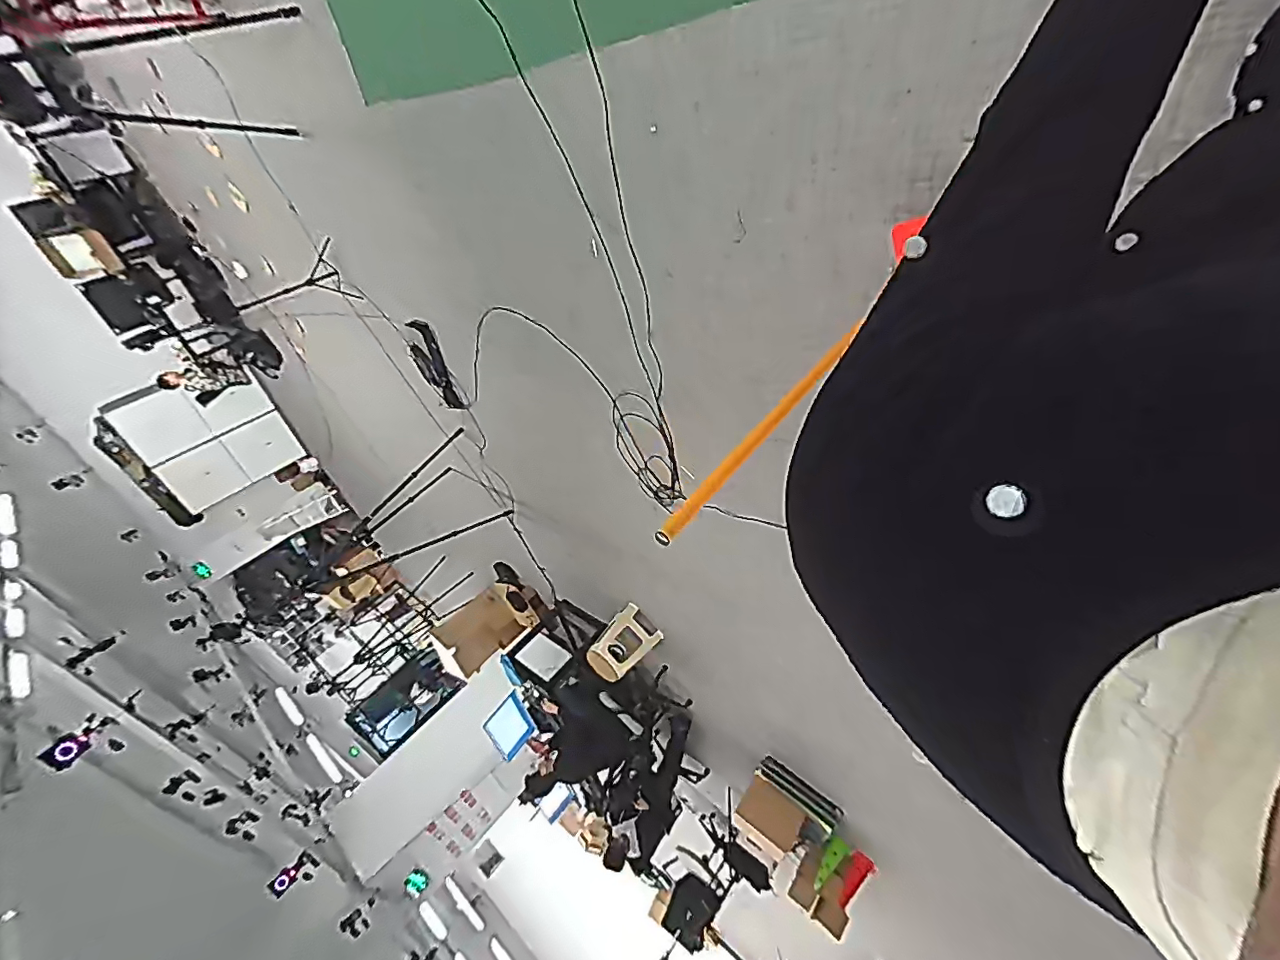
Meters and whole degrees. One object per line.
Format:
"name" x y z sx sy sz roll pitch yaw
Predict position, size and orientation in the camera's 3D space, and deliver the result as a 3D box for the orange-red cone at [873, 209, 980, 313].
"orange-red cone" 0.660 -0.492 1.319 0.199 0.360 0.198 8 129 48
